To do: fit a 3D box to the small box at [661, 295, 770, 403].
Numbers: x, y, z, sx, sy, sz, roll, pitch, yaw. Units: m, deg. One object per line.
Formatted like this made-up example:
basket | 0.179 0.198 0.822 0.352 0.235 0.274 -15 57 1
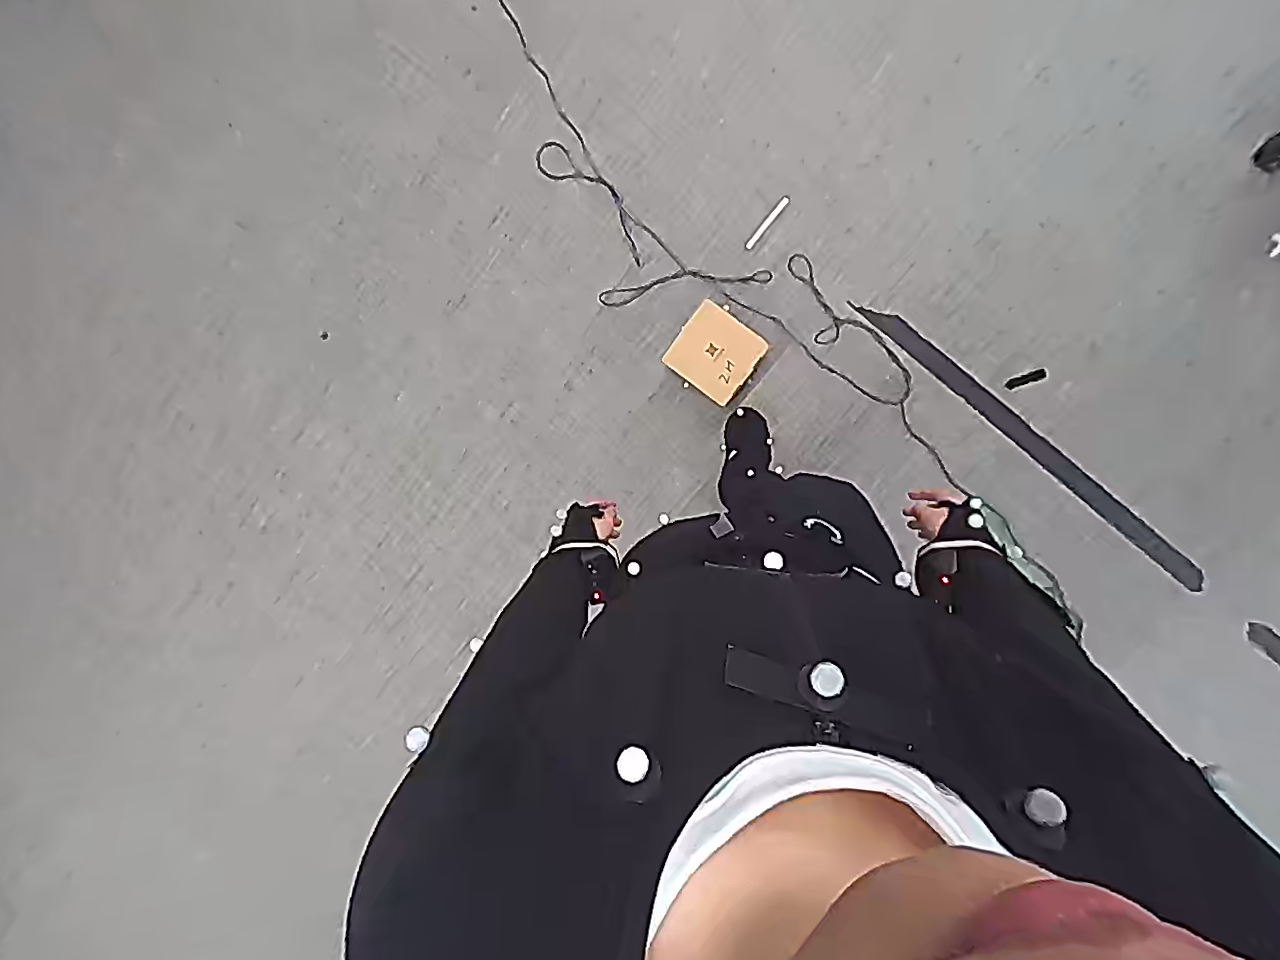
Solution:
small box | 0.170 -0.289 1.231 0.179 0.176 0.168 37 103 1
